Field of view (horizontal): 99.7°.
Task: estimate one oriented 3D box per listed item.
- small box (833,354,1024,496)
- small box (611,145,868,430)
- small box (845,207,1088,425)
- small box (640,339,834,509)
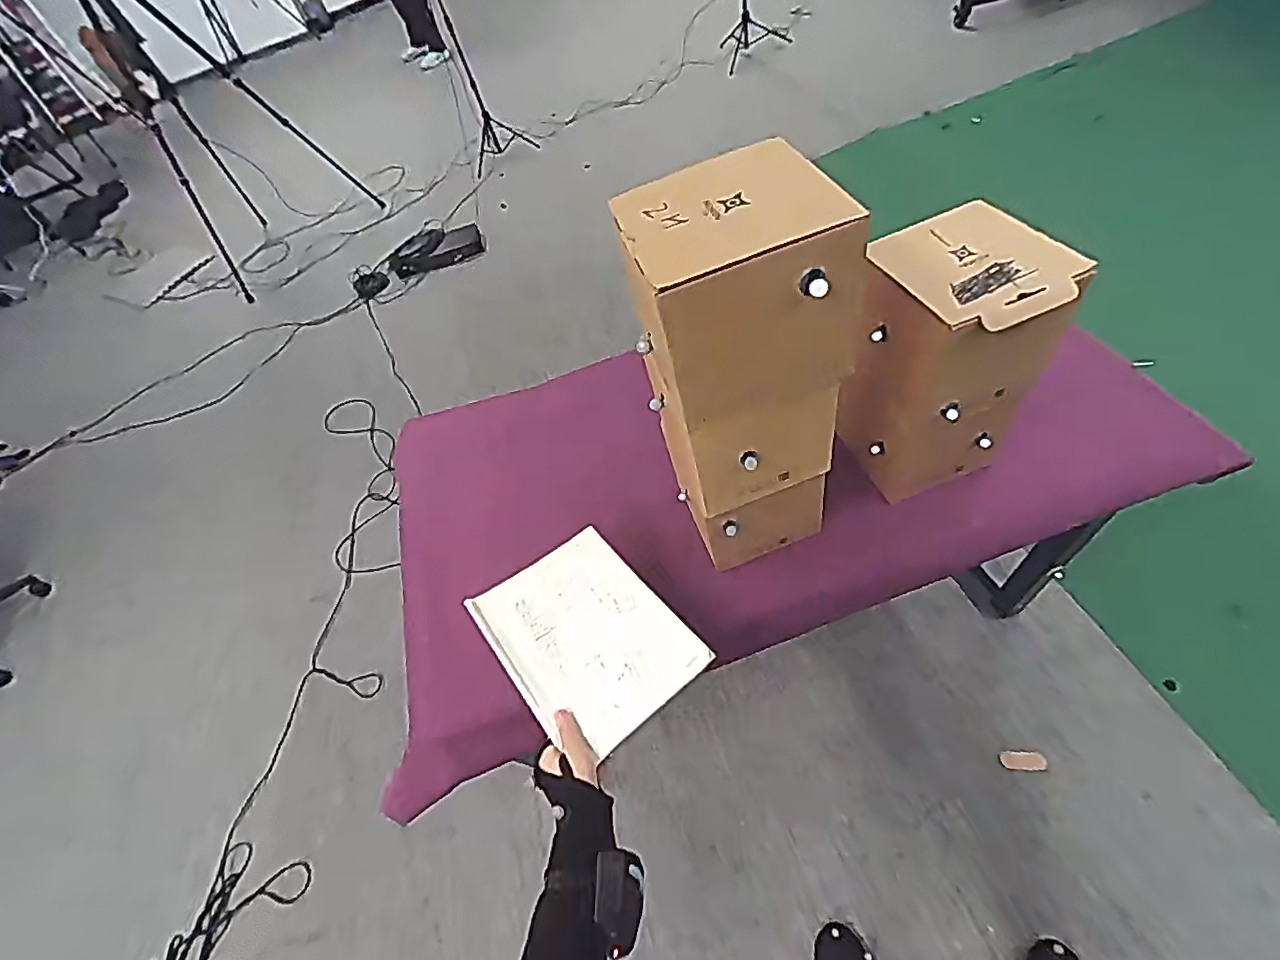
[{"bbox_3d":[0.402,-0.097,0.791,0.168,0.176,0.179,-21,52,-1],"label":"small box"},{"bbox_3d":[0.090,-0.178,0.520,0.179,0.176,0.168,-20,51,2],"label":"small box"},{"bbox_3d":[0.372,-0.190,0.659,0.168,0.176,0.179,-22,51,-2],"label":"small box"},{"bbox_3d":[0.117,-0.085,0.654,0.168,0.176,0.179,-21,52,0],"label":"small box"}]
